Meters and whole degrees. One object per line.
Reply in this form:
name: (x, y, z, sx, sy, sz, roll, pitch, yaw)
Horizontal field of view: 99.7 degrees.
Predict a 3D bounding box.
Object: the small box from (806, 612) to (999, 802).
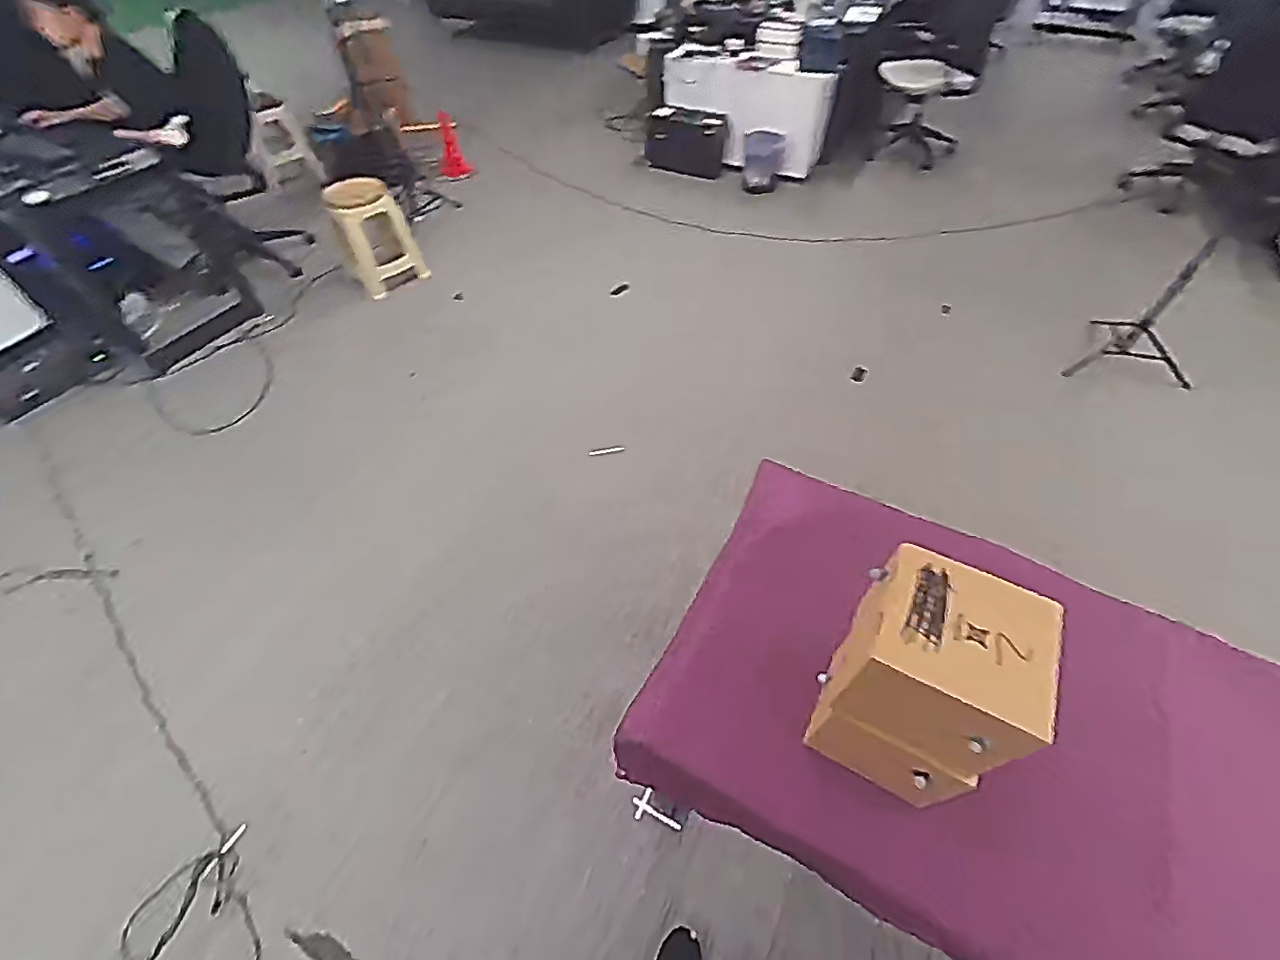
small box: (0.359, 0.323, 0.761, 0.179, 0.176, 0.168, 25, 56, 19)
